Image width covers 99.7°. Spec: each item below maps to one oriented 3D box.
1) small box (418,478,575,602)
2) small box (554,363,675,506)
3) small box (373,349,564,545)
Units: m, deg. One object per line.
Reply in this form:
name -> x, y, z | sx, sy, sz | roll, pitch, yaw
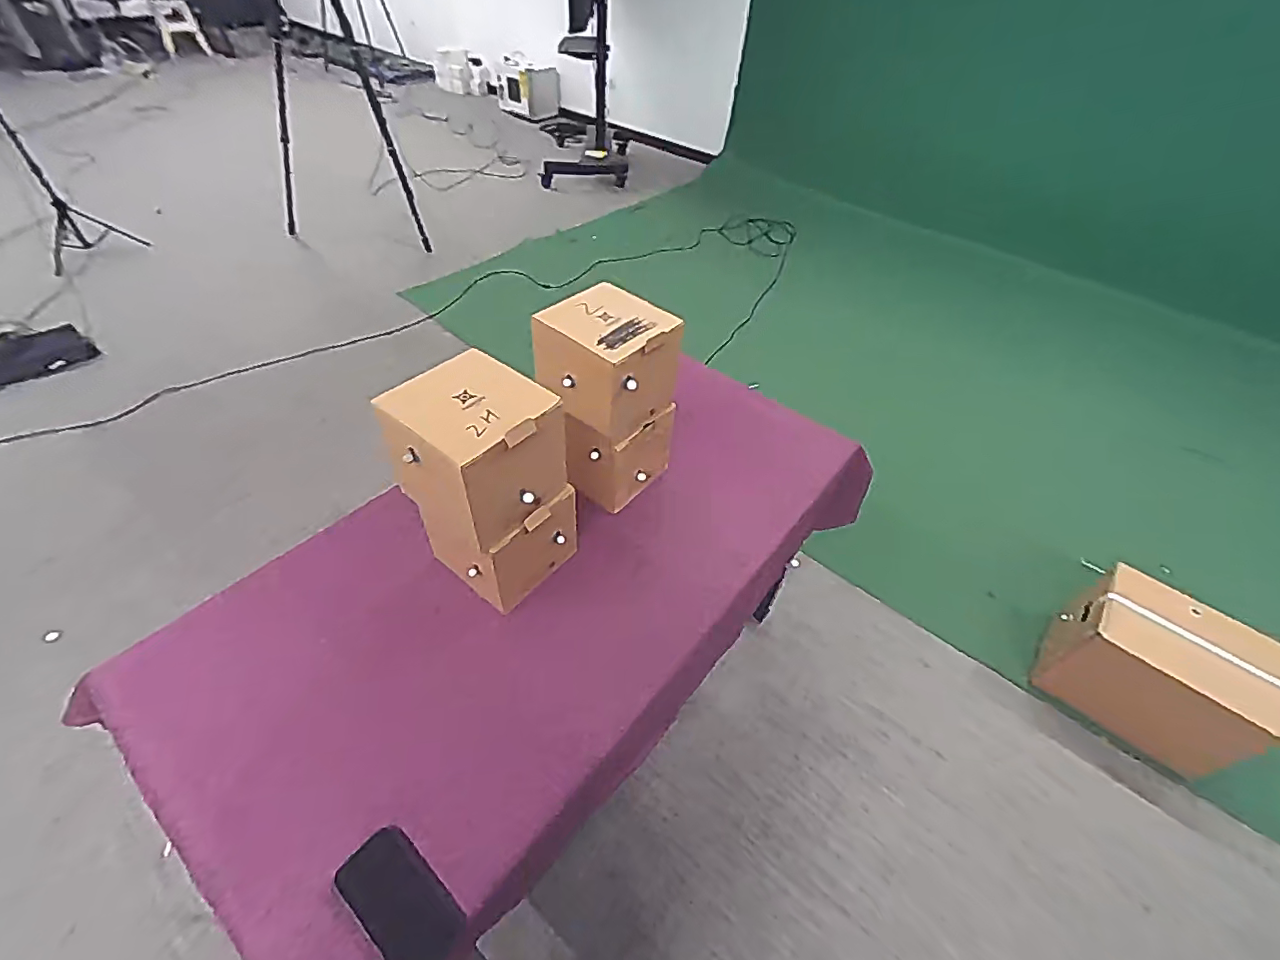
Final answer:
small box -> -0.217, 0.067, 0.859 | 0.179, 0.176, 0.168 | 32, 52, 23
small box -> -0.059, -0.083, 1.010 | 0.179, 0.176, 0.168 | 33, 53, 22
small box -> -0.221, -0.044, 0.736 | 0.179, 0.176, 0.168 | 32, 53, 22
